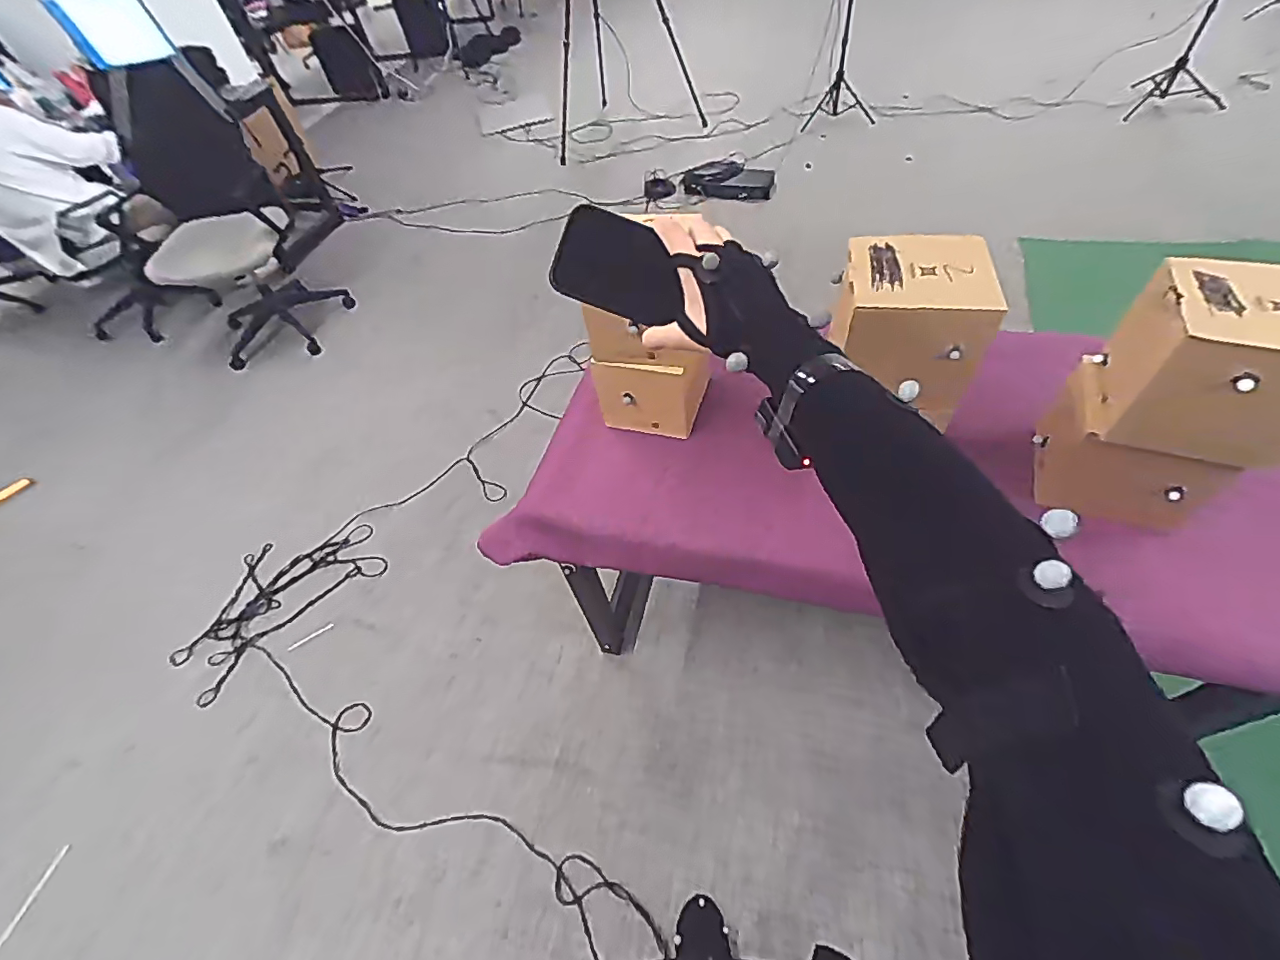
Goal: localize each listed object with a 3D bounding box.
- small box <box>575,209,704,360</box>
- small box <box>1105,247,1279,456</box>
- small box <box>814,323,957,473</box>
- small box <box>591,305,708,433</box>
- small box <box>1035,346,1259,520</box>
[{"bbox_3d":[0.011,-0.315,0.880,0.168,0.176,0.179,6,54,13],"label":"small box"},{"bbox_3d":[0.694,-0.150,0.642,0.179,0.176,0.168,15,56,19],"label":"small box"},{"bbox_3d":[0.393,-0.130,0.883,0.179,0.176,0.168,10,54,16],"label":"small box"},{"bbox_3d":[0.029,-0.209,1.004,0.168,0.176,0.179,10,55,17],"label":"small box"},{"bbox_3d":[0.711,-0.064,0.781,0.179,0.176,0.168,15,56,20],"label":"small box"}]
